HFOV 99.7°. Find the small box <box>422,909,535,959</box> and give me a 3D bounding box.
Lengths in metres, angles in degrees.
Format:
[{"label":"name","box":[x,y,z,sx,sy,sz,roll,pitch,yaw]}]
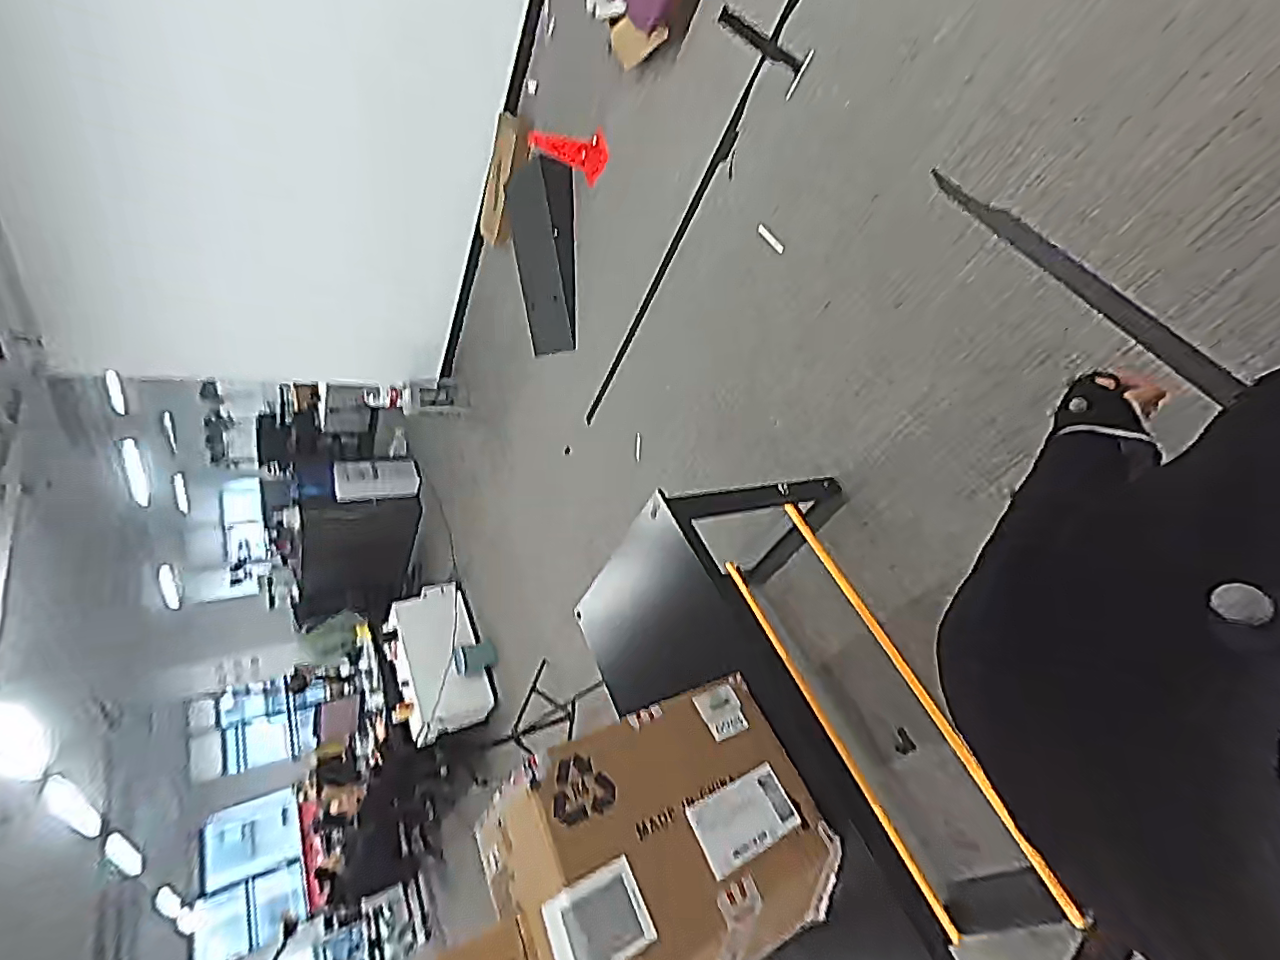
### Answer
[{"label":"small box","box":[-0.260,0.838,0.869,0.168,0.176,0.179,57,138,34]}]
